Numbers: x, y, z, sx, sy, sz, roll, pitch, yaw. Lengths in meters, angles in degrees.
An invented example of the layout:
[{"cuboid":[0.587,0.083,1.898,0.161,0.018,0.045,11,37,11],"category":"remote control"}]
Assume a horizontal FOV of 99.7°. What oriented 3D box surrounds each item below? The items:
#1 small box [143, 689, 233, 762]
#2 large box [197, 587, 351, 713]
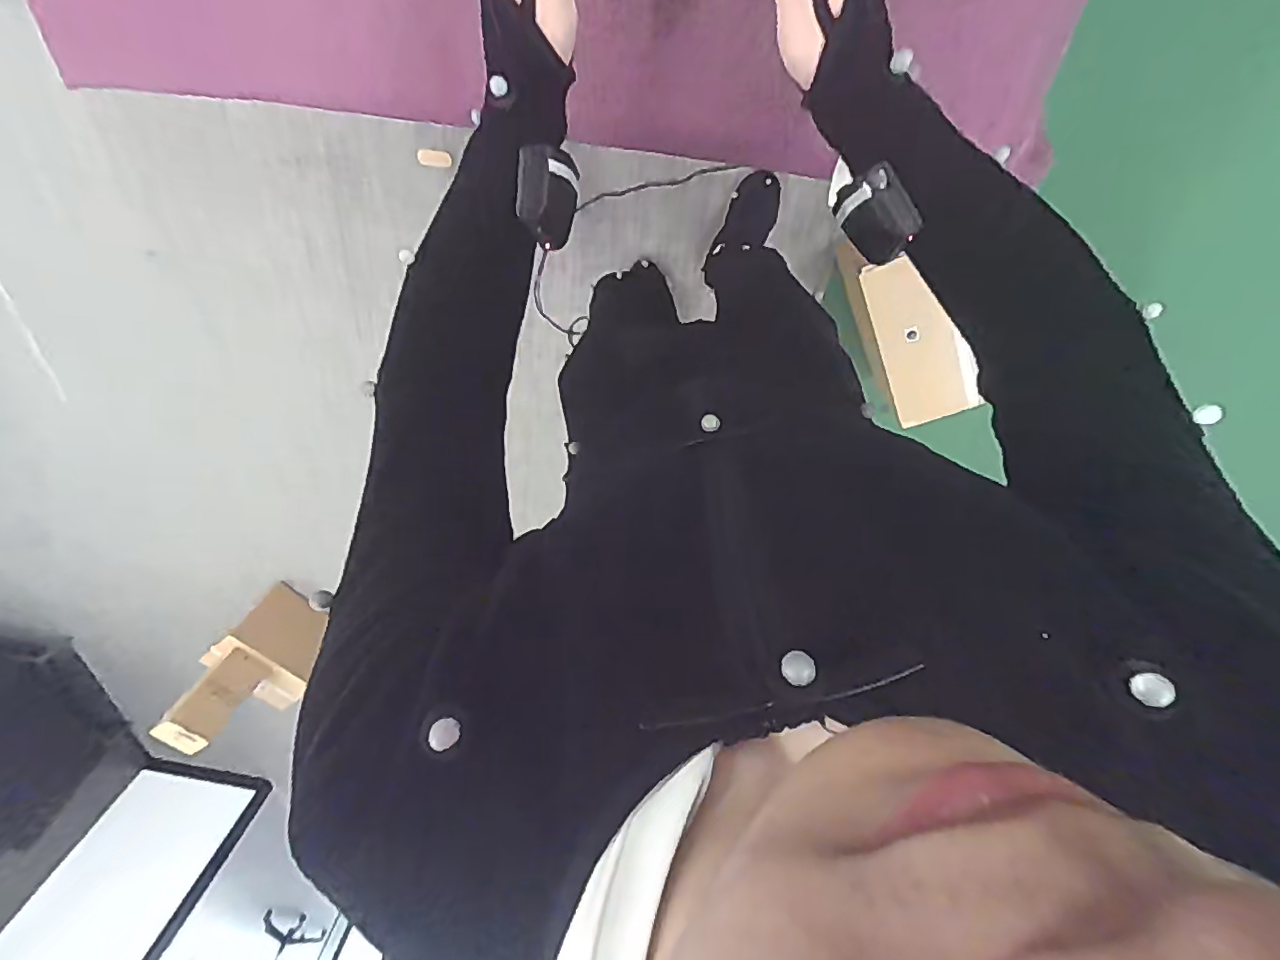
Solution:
[{"cuboid":[-1.664,0.905,2.003,0.179,0.176,0.168,-30,114,25],"category":"small box"},{"cuboid":[-1.596,0.749,2.384,0.320,0.320,0.408,-32,115,27],"category":"large box"}]
